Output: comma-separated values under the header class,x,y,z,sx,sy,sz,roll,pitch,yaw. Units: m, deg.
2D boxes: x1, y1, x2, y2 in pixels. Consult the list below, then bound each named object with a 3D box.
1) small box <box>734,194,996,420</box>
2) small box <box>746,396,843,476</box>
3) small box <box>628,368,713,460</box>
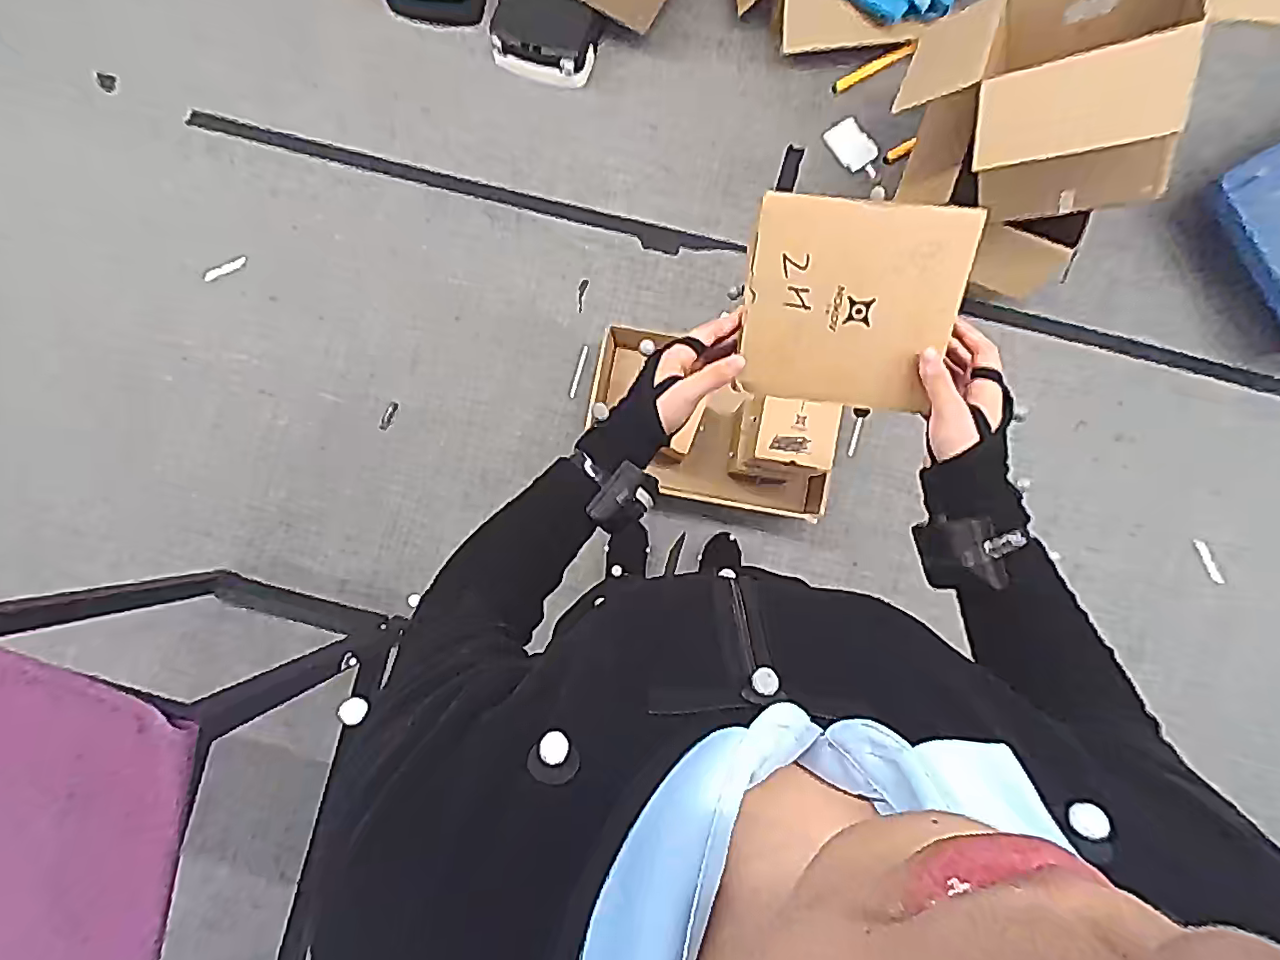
class,x,y,z,sx,sy,sz,roll,pitch,yaw
small box,0.192,-0.169,0.525,0.179,0.176,0.168,9,112,6
small box,0.342,-0.111,1.221,0.168,0.176,0.179,11,86,2
small box,0.074,-0.163,1.397,0.168,0.176,0.179,21,87,1
